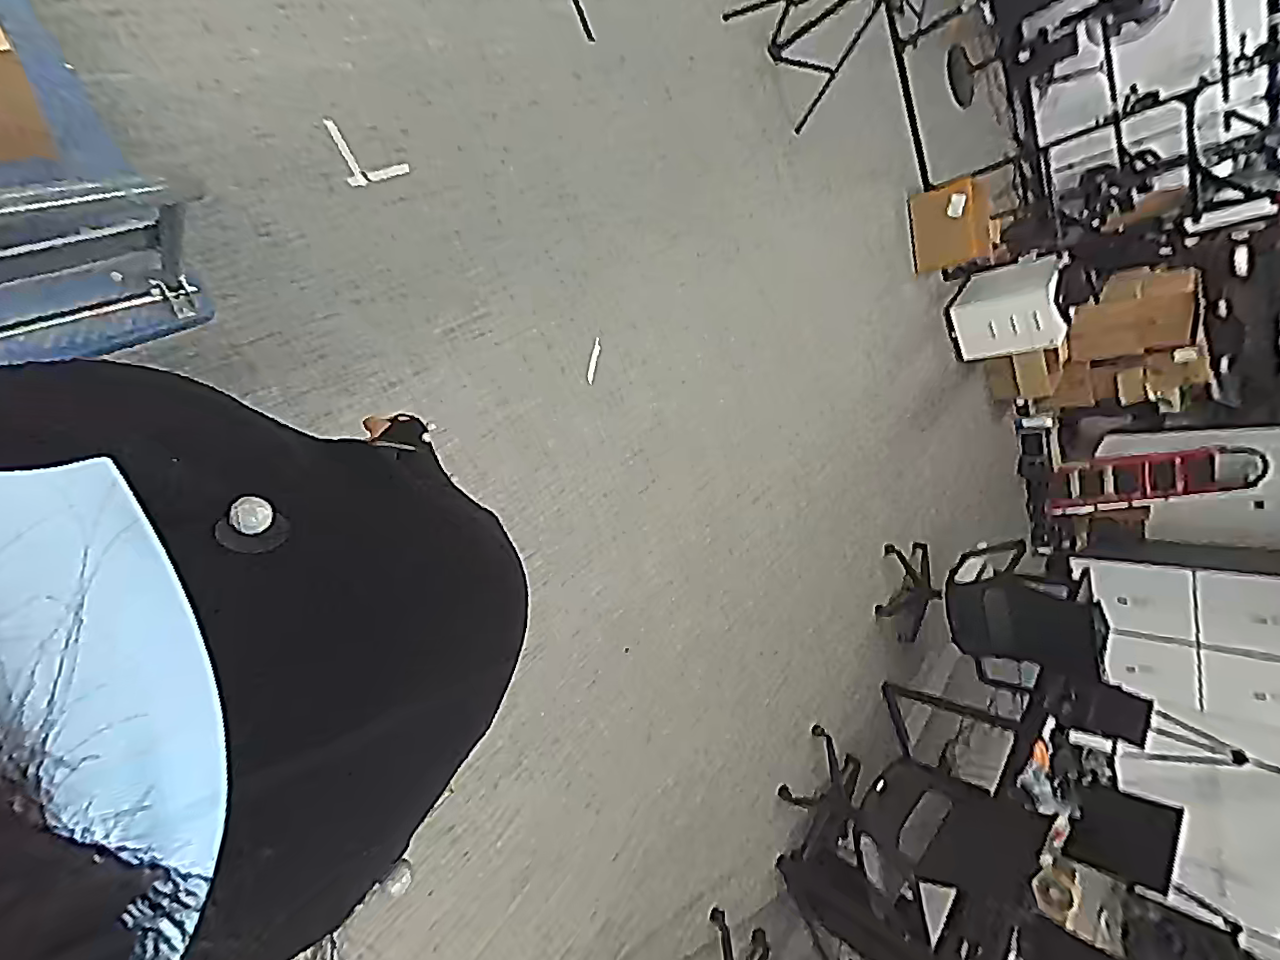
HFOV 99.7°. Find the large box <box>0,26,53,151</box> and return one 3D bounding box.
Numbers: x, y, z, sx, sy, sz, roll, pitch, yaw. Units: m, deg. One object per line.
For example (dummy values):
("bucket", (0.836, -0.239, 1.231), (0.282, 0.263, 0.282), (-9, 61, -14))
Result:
("large box", (-1.099, -0.614, 0.659), (0.408, 0.320, 0.320), (-33, 110, -34))
